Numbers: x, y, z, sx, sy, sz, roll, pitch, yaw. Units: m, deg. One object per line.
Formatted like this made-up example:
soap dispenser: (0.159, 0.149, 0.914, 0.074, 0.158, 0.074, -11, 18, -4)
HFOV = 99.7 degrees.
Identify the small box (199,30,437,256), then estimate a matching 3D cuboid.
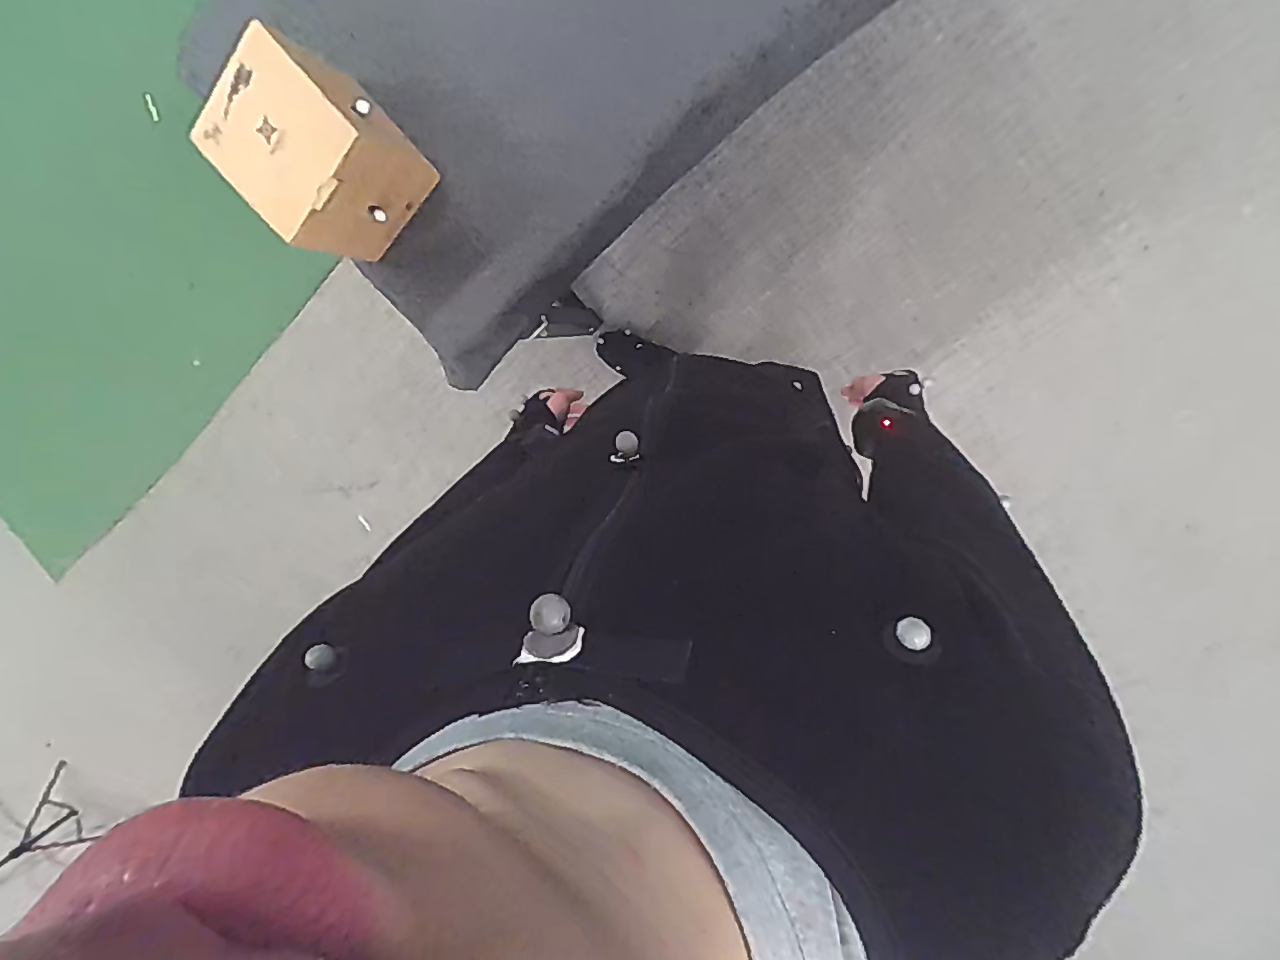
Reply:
small box: (-0.410, -0.421, 0.718, 0.168, 0.176, 0.179, -41, 95, 18)
